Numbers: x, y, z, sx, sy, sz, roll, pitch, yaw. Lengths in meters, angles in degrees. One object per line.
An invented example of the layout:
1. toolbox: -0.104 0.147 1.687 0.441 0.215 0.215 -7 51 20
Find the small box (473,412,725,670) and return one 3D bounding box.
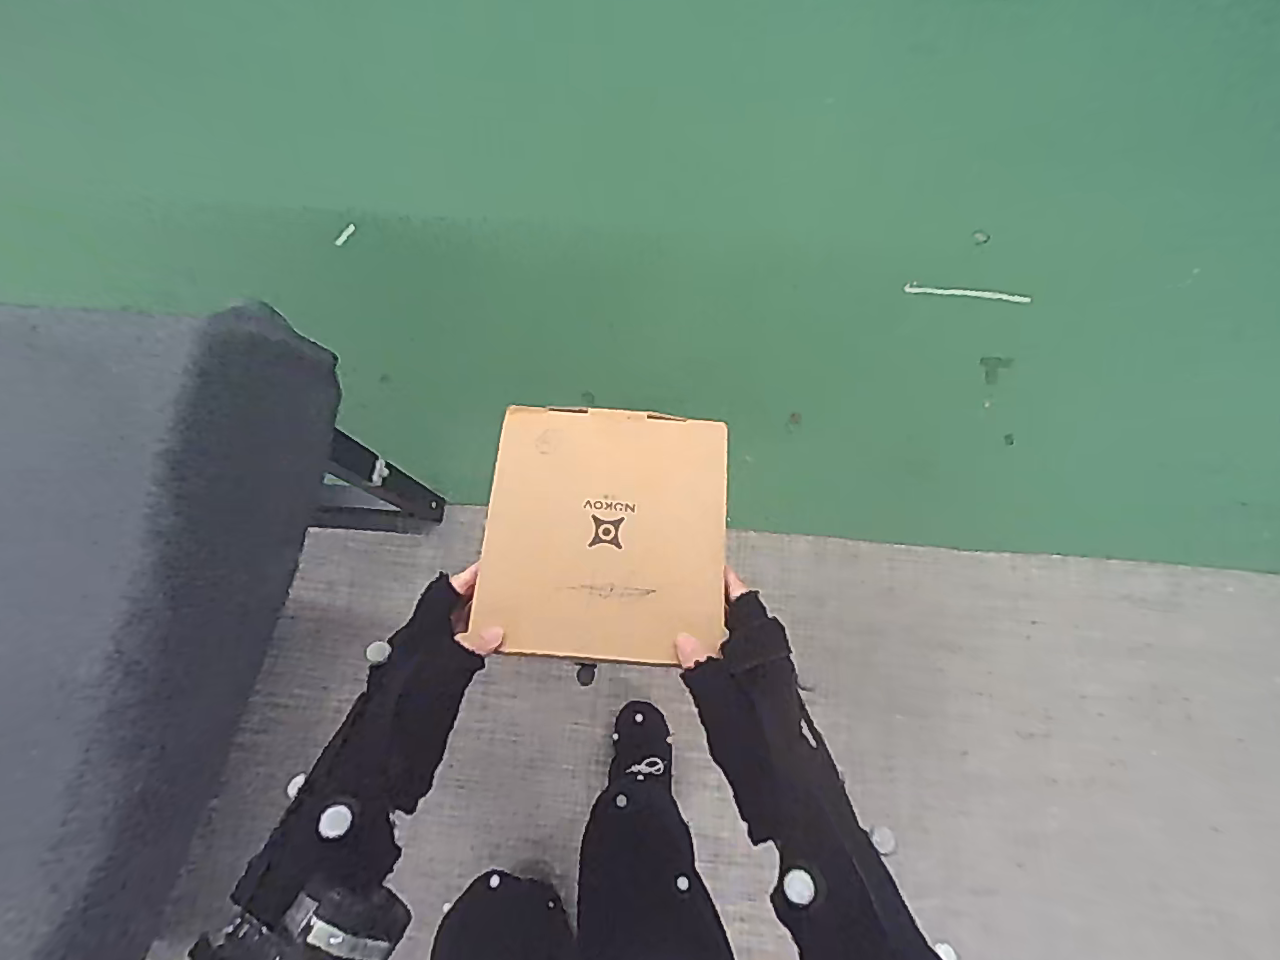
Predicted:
1. small box: -0.026 0.062 0.458 0.168 0.176 0.179 4 72 0
